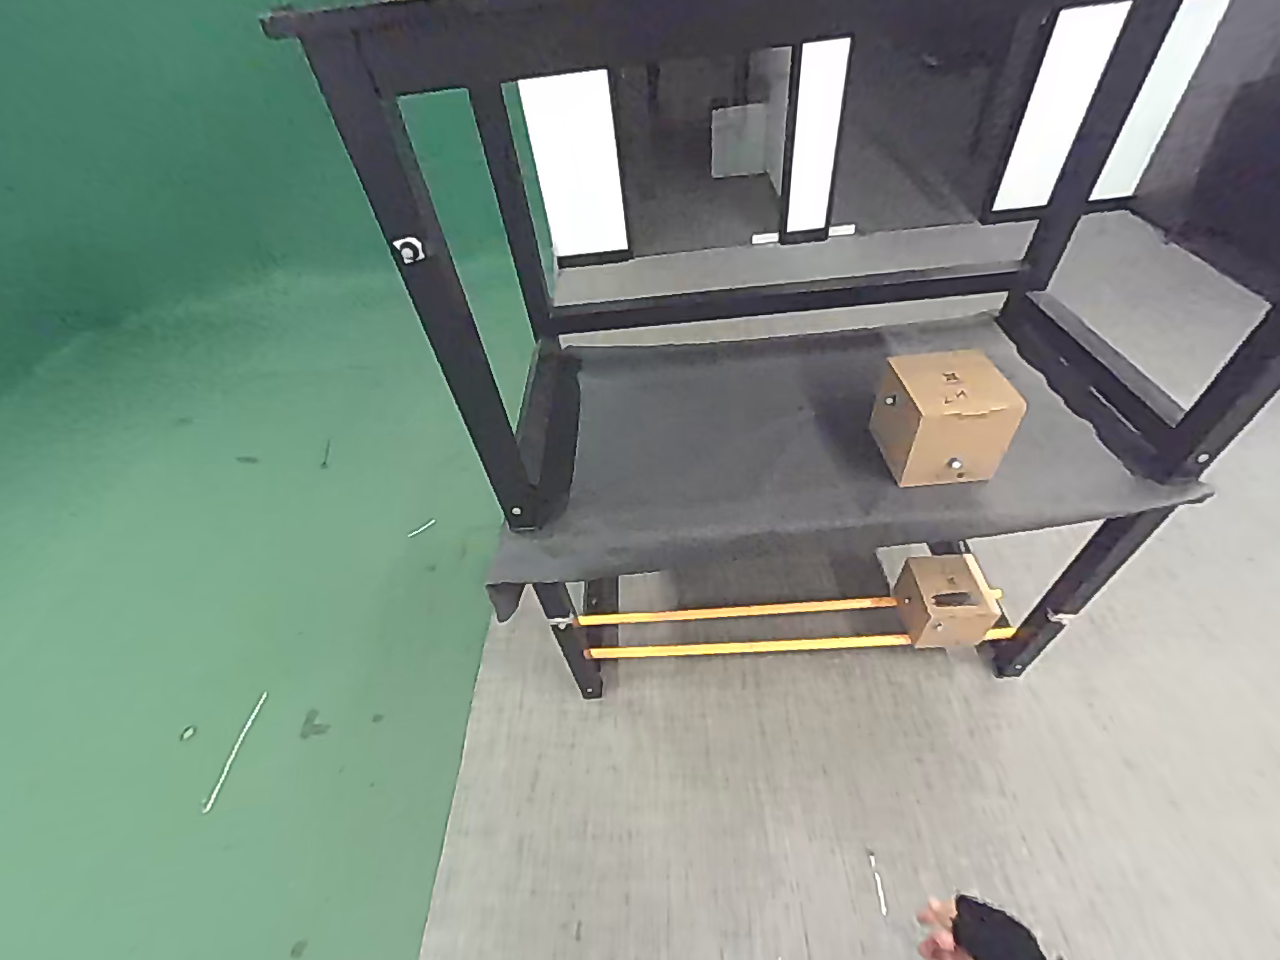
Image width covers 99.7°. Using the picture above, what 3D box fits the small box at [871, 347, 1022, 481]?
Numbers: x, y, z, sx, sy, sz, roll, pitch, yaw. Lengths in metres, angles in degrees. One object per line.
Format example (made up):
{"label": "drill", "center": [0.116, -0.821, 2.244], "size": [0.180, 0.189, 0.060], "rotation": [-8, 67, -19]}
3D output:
{"label": "small box", "center": [0.539, -0.119, 0.984], "size": [0.168, 0.176, 0.179], "rotation": [-6, 44, 4]}
